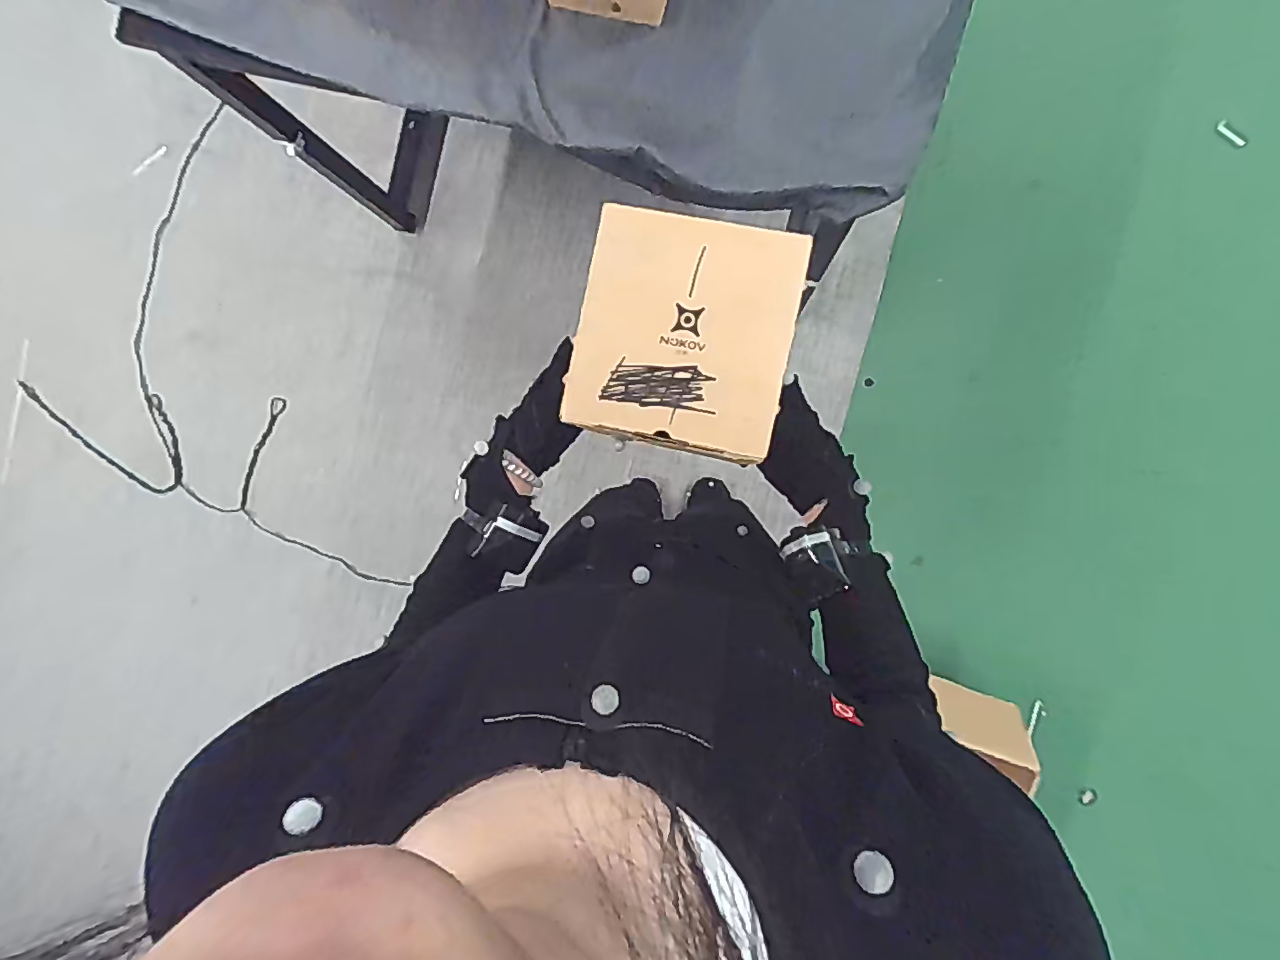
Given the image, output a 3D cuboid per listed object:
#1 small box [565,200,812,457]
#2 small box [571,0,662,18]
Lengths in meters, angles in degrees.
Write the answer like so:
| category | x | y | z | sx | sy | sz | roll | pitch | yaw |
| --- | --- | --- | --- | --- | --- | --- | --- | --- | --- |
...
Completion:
| category | x | y | z | sx | sy | sz | roll | pitch | yaw |
| --- | --- | --- | --- | --- | --- | --- | --- | --- | --- |
| small box | 0.043 | -0.121 | 0.500 | 0.168 | 0.176 | 0.179 | 12 | 92 | 4 |
| small box | -0.037 | -0.731 | 0.660 | 0.168 | 0.176 | 0.179 | 17 | 94 | 6 |
